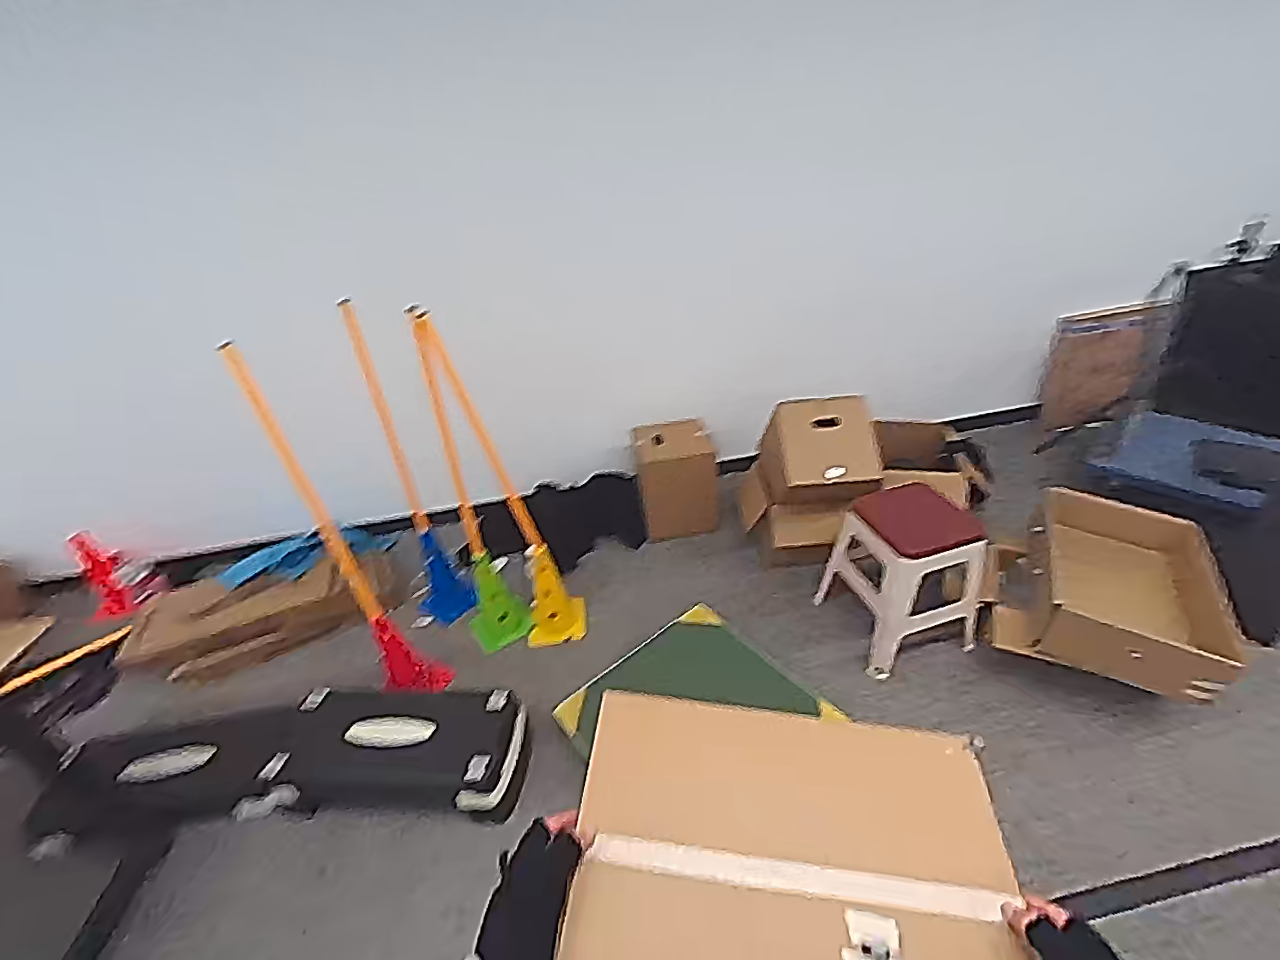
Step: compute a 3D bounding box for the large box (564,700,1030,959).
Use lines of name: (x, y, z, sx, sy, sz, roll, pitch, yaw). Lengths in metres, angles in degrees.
large box: (0.141, 0.489, 0.602, 0.408, 0.320, 0.320, 6, 41, 7)
